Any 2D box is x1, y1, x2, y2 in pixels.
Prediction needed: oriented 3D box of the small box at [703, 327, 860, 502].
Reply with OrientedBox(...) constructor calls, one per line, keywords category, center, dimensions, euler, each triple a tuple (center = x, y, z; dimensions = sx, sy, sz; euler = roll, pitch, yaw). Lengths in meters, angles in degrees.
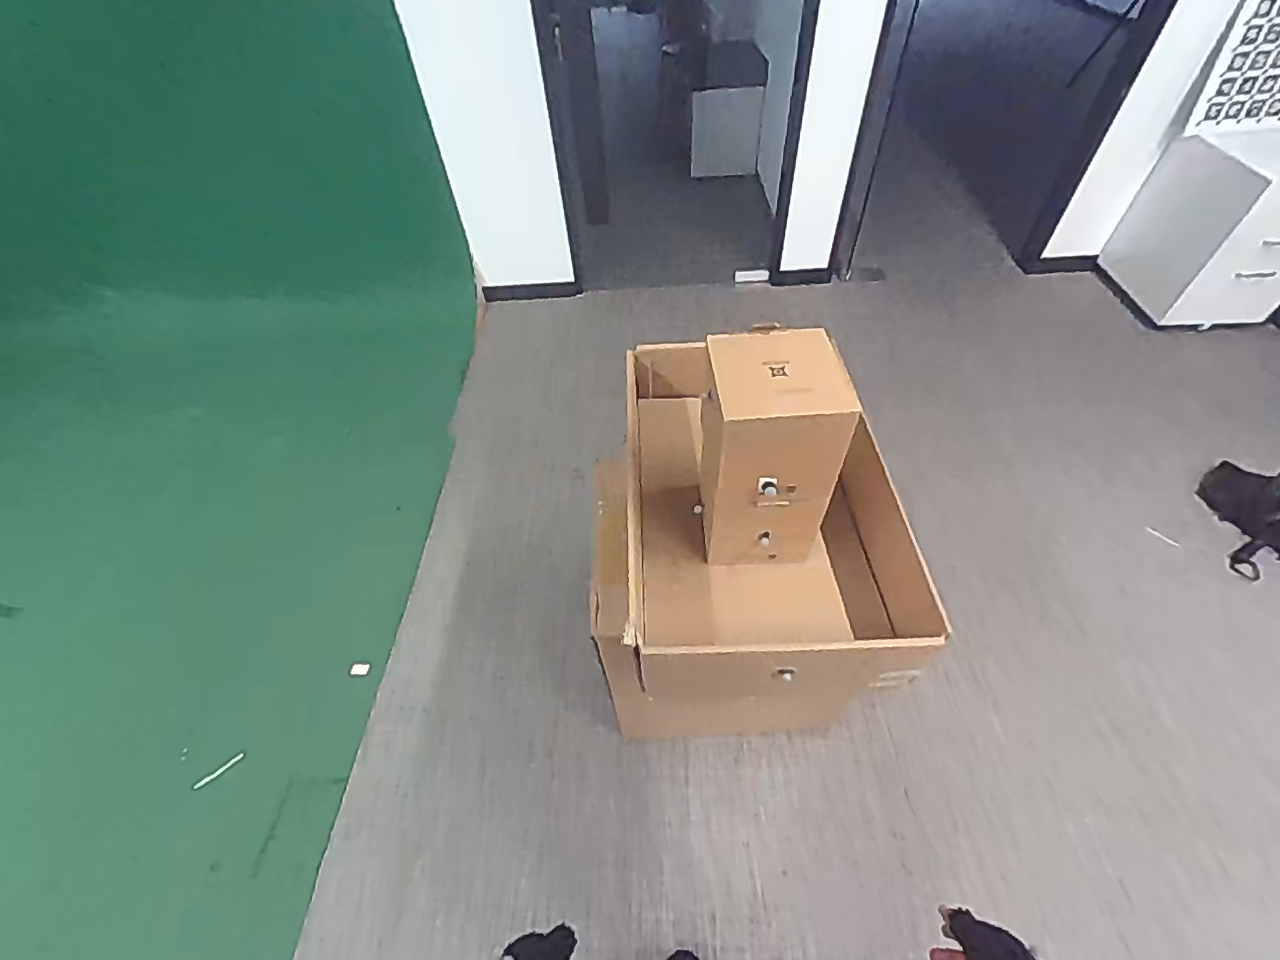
OrientedBox(category="small box", center=(0.182, -0.090, 0.758), dimensions=(0.168, 0.176, 0.179), euler=(-5, 50, 0))
